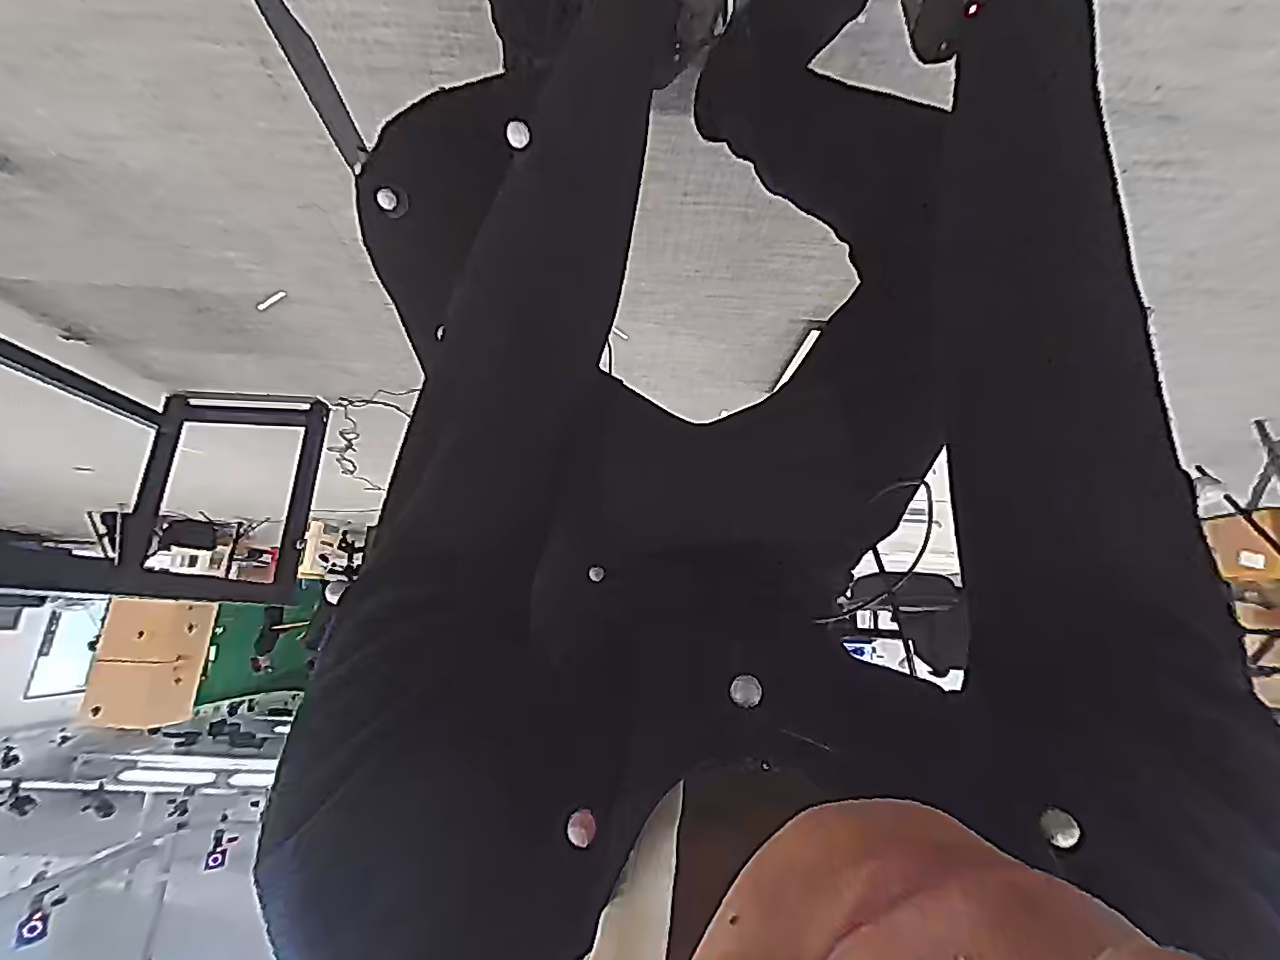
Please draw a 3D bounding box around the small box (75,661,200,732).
[{"bbox_3d":[-1.367,0.584,1.486,0.179,0.176,0.168,2,165,-1],"label":"small box"}]

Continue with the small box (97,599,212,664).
[{"bbox_3d":[-1.359,0.425,1.530,0.179,0.176,0.168,2,164,0],"label":"small box"}]
